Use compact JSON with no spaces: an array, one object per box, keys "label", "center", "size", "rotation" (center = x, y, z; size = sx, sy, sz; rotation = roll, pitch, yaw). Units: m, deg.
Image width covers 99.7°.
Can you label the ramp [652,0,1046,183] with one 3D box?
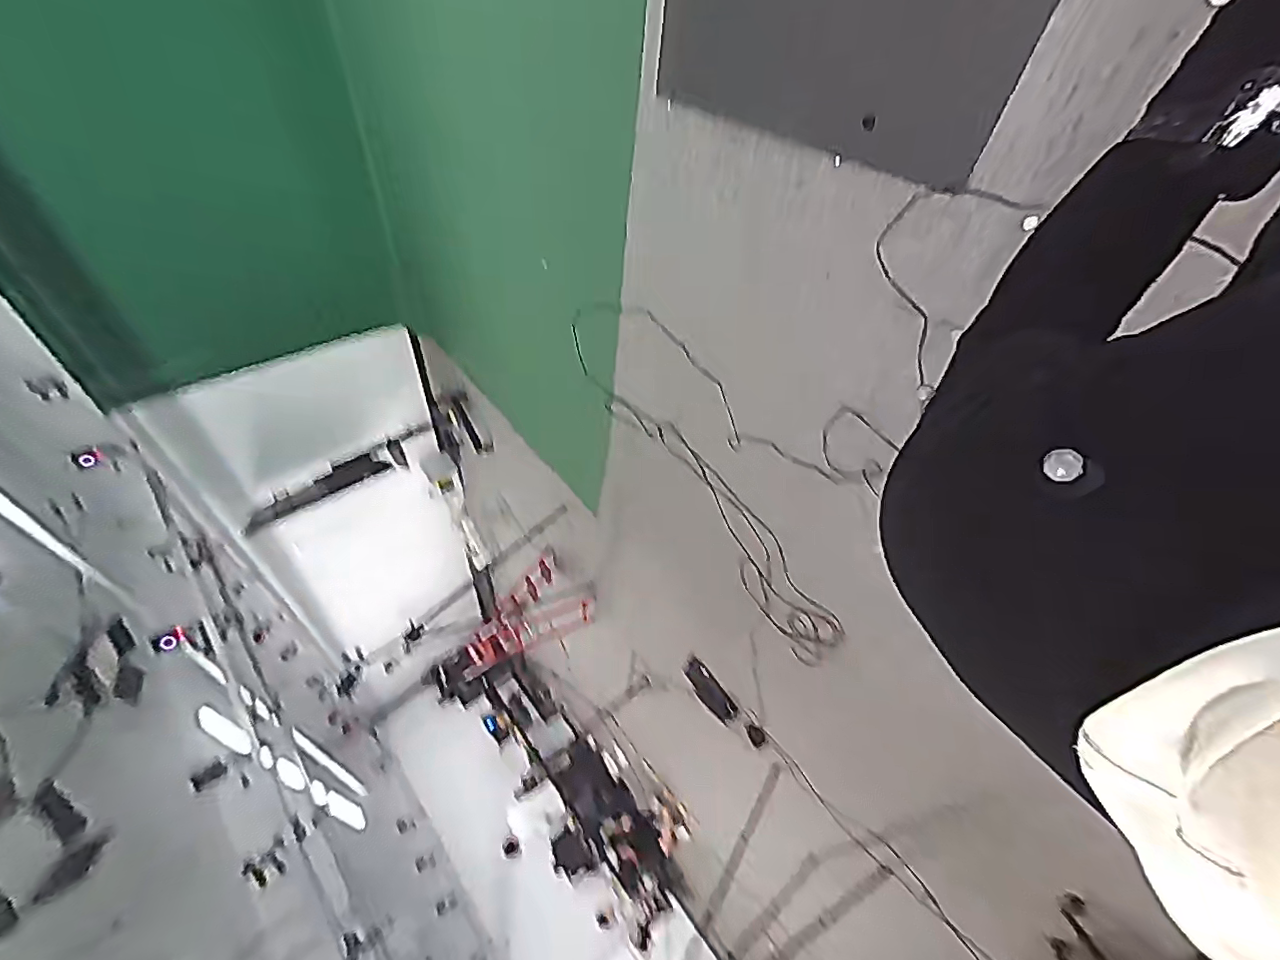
[{"label":"ramp","center":[0.452,-1.182,1.395],"size":[0.991,0.206,0.509],"rotation":[42,145,28]}]
